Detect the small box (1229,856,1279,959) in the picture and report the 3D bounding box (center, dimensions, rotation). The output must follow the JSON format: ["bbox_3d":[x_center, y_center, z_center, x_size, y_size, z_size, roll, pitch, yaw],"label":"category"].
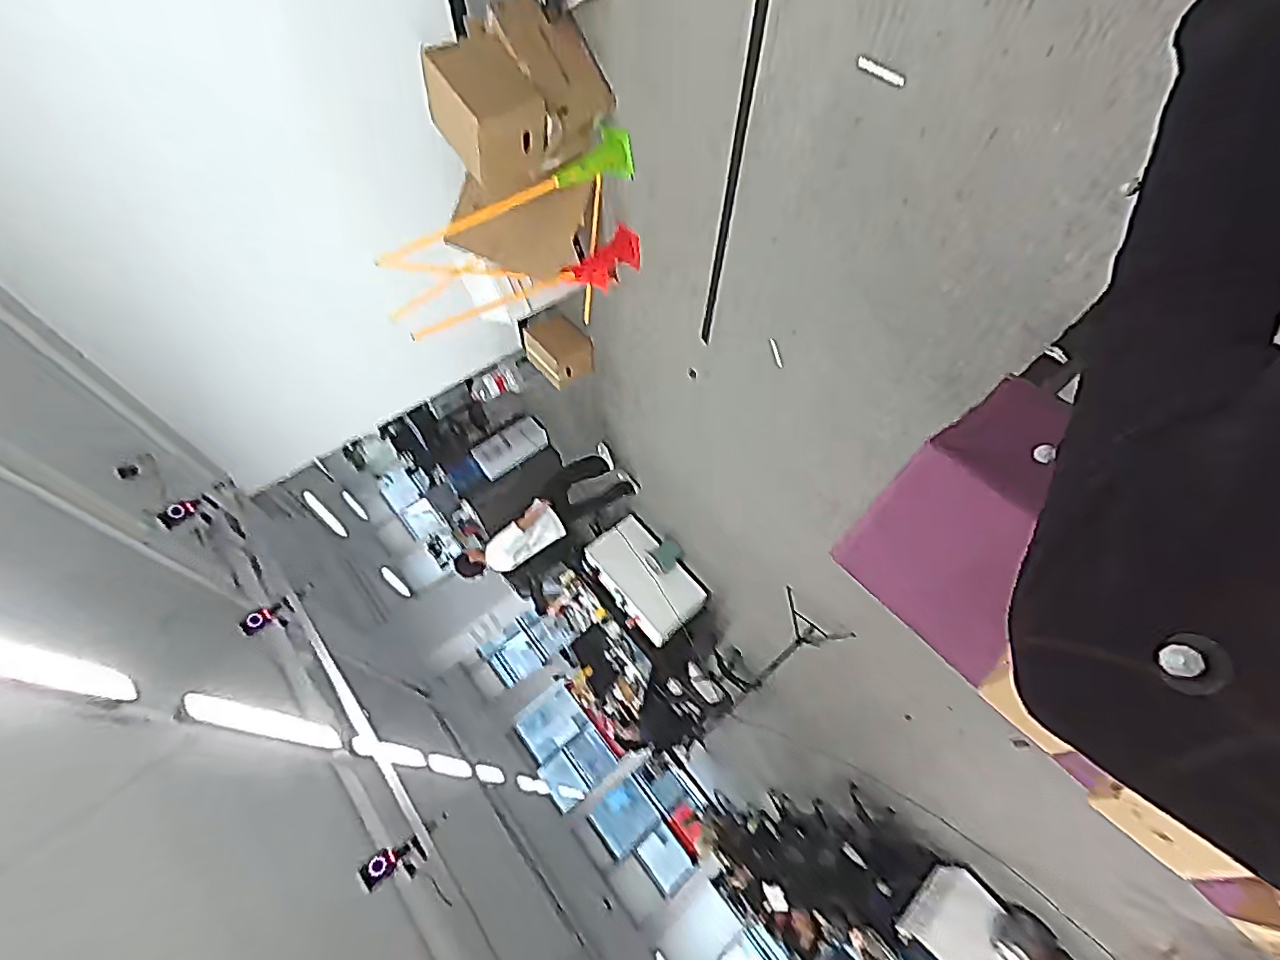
[{"bbox_3d":[1.178,0.772,0.903,0.168,0.176,0.179,48,159,18],"label":"small box"}]

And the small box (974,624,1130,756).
[{"bbox_3d":[0.837,0.424,1.100,0.168,0.176,0.179,44,157,27],"label":"small box"}]

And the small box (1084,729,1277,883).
[{"bbox_3d":[1.008,0.608,1.014,0.179,0.176,0.168,42,155,31],"label":"small box"}]
